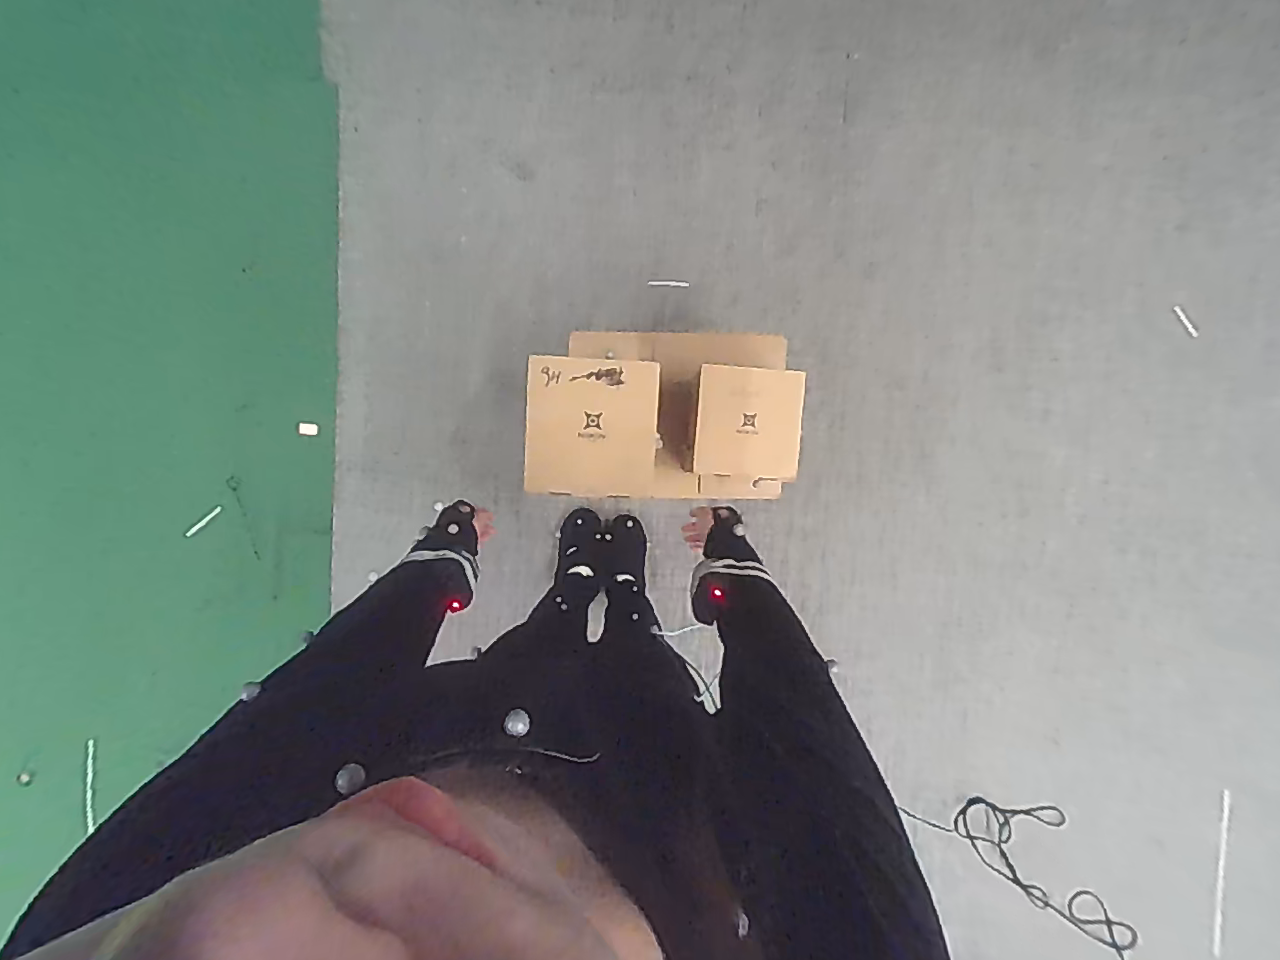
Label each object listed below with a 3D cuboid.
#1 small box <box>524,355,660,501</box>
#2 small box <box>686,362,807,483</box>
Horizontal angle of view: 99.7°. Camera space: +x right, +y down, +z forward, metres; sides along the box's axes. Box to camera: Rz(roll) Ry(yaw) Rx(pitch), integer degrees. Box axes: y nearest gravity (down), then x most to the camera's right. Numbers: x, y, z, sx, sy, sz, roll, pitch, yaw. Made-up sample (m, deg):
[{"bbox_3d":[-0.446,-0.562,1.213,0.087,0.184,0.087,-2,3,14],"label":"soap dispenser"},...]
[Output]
[{"bbox_3d":[-0.062,-0.072,0.758,0.168,0.176,0.179,3,95,-1],"label":"small box"},{"bbox_3d":[0.171,-0.094,0.922,0.168,0.176,0.179,6,92,0],"label":"small box"}]
